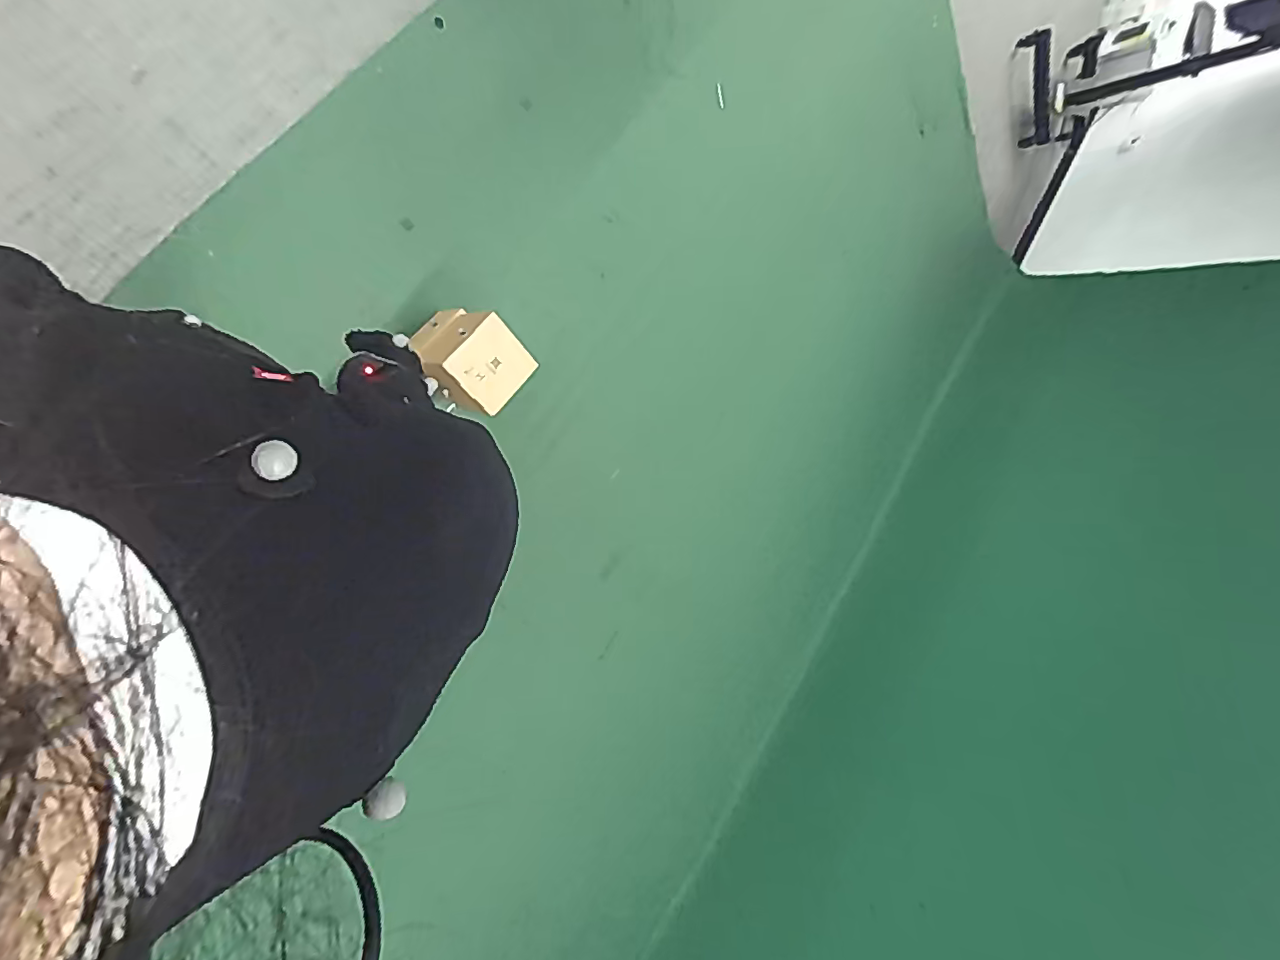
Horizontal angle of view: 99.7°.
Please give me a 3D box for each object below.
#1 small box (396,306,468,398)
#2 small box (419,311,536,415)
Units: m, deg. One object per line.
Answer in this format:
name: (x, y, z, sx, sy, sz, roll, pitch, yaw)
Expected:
small box: (-0.494, -0.323, 1.398, 0.168, 0.176, 0.179, -52, 129, -19)
small box: (-0.388, -0.279, 1.280, 0.179, 0.176, 0.168, -53, 129, -17)
